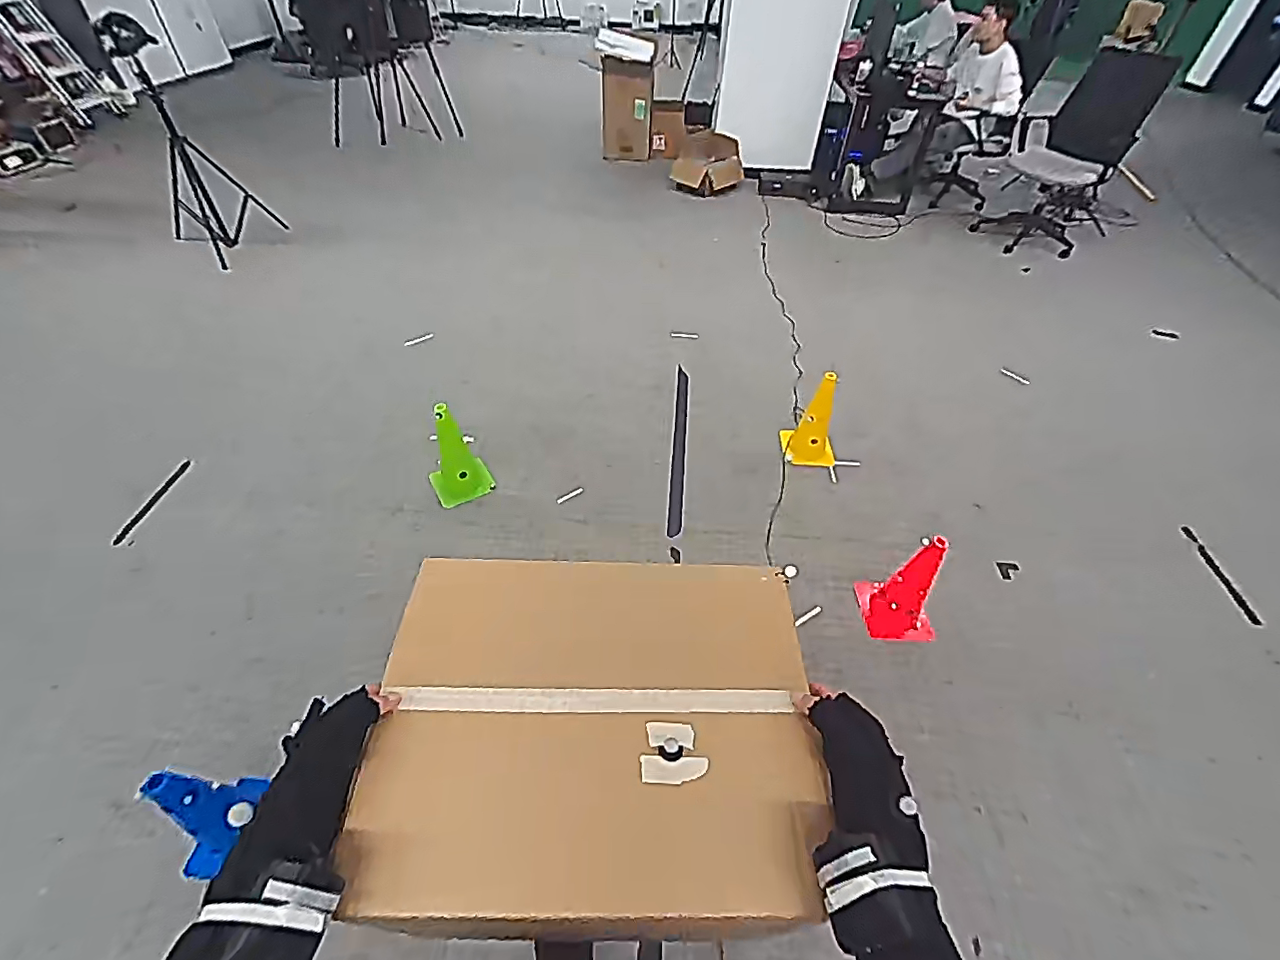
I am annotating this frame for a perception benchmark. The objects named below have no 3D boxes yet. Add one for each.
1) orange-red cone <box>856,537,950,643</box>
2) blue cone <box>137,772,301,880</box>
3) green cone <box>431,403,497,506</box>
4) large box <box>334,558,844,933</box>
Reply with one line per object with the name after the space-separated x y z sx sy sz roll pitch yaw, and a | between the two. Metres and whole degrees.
0.794 0.288 1.559 0.198 0.360 0.199 3 44 0 | orange-red cone
-0.896 0.683 1.122 0.192 0.380 0.193 6 46 5 | blue cone
-0.653 -0.118 1.885 0.202 0.368 0.200 -25 51 -22 | green cone
-0.046 0.307 0.623 0.408 0.320 0.320 2 47 -2 | large box
